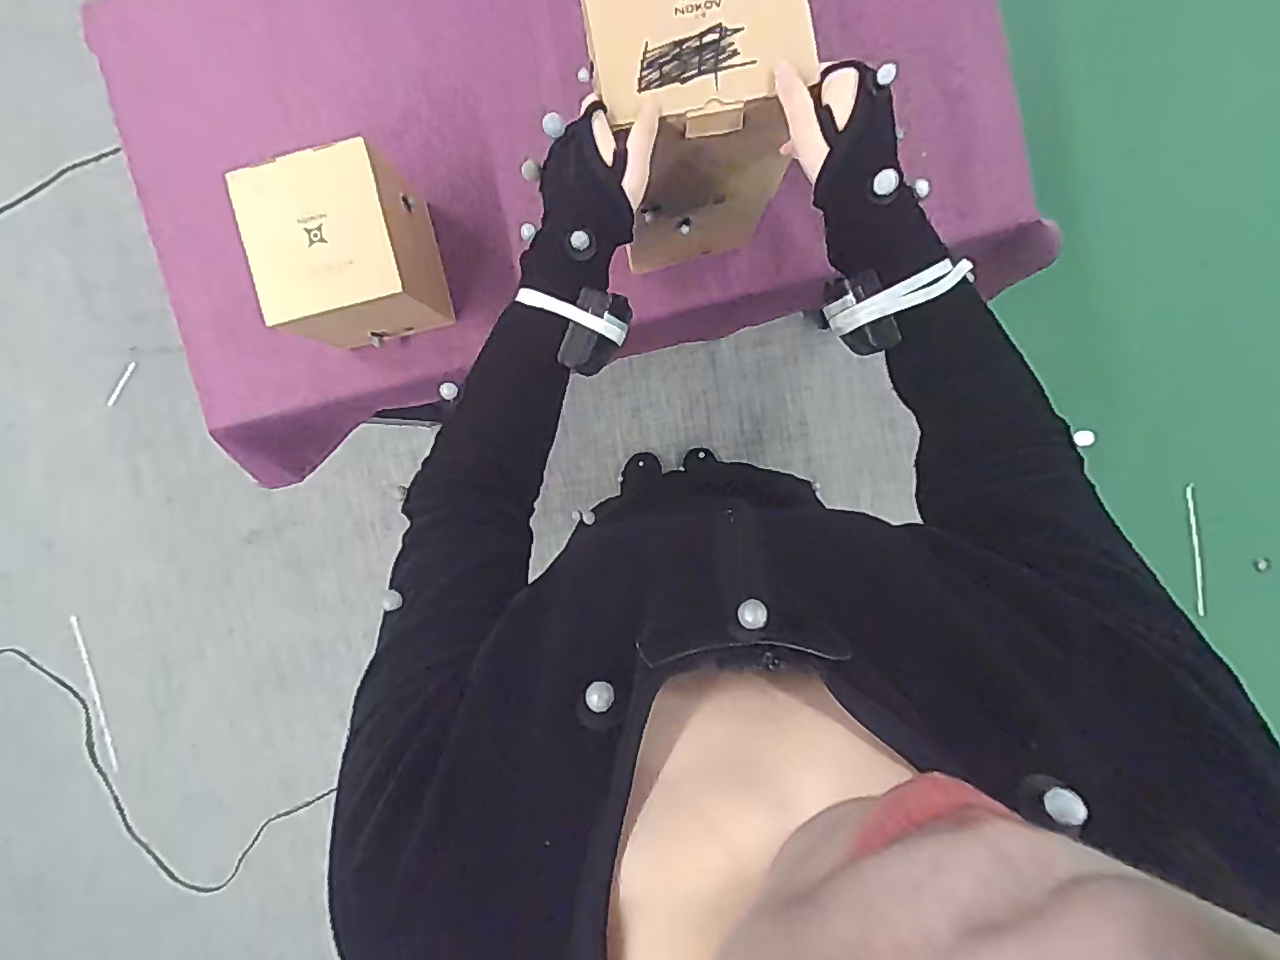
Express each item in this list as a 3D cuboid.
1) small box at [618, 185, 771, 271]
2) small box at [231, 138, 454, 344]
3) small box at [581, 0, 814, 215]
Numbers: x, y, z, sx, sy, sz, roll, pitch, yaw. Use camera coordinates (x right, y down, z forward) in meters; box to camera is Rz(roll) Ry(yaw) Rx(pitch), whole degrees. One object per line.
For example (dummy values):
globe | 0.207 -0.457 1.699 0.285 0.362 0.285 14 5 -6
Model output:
small box | 0.049 -0.385 0.666 0.168 0.176 0.179 -13 93 4
small box | -0.359 -0.286 0.687 0.168 0.176 0.179 -12 95 3
small box | 0.042 -0.365 0.489 0.168 0.176 0.179 -10 91 1
